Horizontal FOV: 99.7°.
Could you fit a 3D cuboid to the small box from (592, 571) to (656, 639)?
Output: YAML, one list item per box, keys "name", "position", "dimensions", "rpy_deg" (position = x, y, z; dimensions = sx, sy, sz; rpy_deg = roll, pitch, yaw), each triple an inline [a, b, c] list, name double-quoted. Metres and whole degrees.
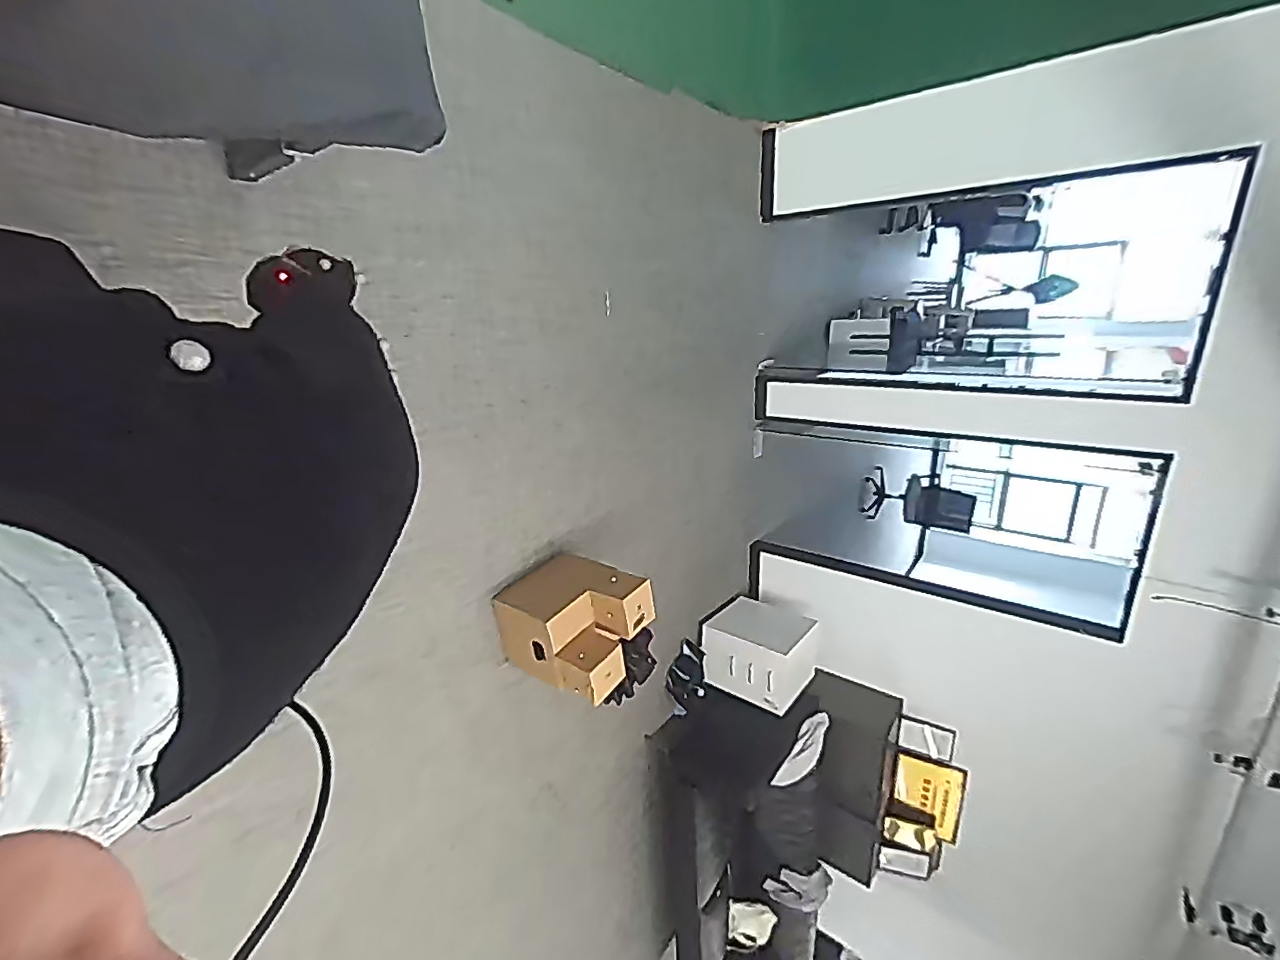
- name: "small box"
  position: [-0.061, 0.472, 2.074]
  dimensions: [0.168, 0.176, 0.179]
  rpy_deg: [-30, 119, -46]

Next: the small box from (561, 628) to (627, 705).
- name: "small box"
  position: [-0.172, 0.676, 1.979]
  dimensions: [0.179, 0.176, 0.168]
  rpy_deg: [-36, 130, -44]
